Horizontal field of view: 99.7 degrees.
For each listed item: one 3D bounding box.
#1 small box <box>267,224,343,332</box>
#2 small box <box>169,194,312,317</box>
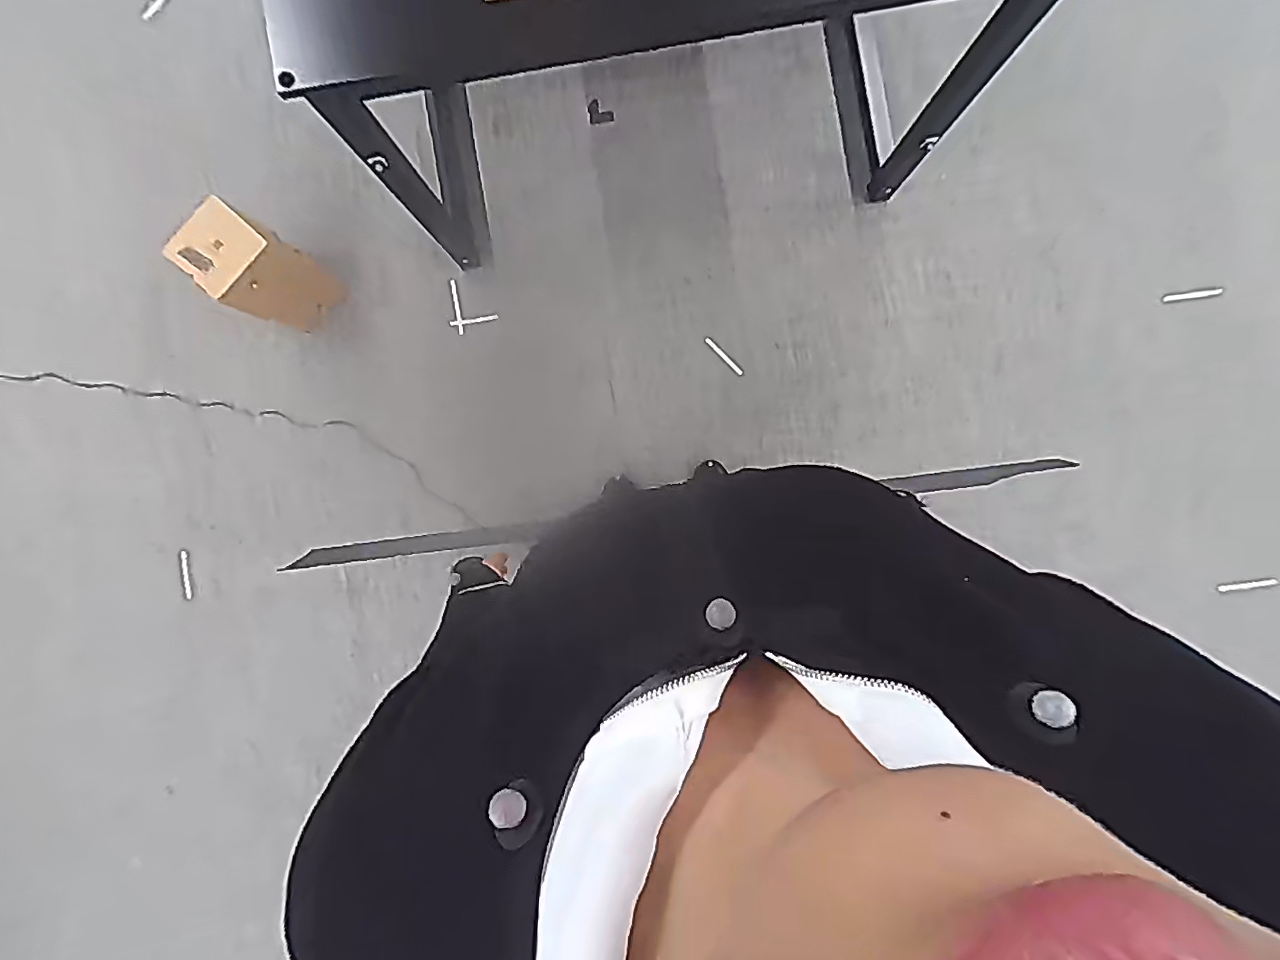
[{"bbox_3d":[-0.931,-0.528,1.438,0.168,0.176,0.179,40,90,1],"label":"small box"},{"bbox_3d":[-0.926,-0.514,1.272,0.168,0.176,0.179,42,91,0],"label":"small box"}]
